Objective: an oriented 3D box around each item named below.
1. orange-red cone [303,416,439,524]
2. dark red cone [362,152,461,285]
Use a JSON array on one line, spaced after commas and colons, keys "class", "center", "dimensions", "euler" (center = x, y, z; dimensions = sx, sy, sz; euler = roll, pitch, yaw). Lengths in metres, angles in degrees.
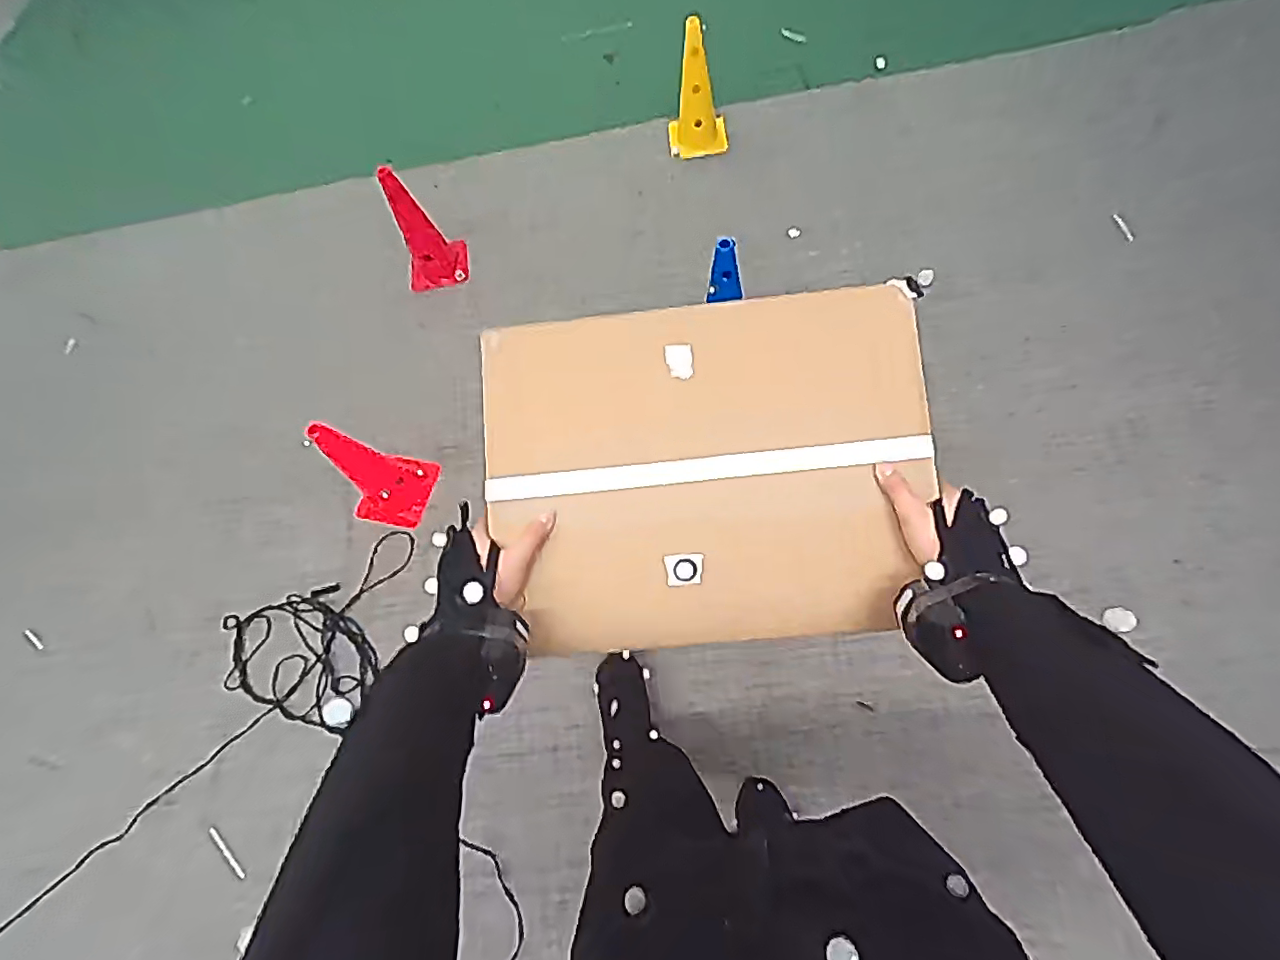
[{"class": "orange-red cone", "center": [-0.705, -0.051, 1.355], "dimensions": [0.199, 0.360, 0.198], "euler": [10, 67, 15]}, {"class": "dark red cone", "center": [-0.725, -0.821, 1.681], "dimensions": [0.202, 0.394, 0.201], "euler": [-15, 62, 3]}]
